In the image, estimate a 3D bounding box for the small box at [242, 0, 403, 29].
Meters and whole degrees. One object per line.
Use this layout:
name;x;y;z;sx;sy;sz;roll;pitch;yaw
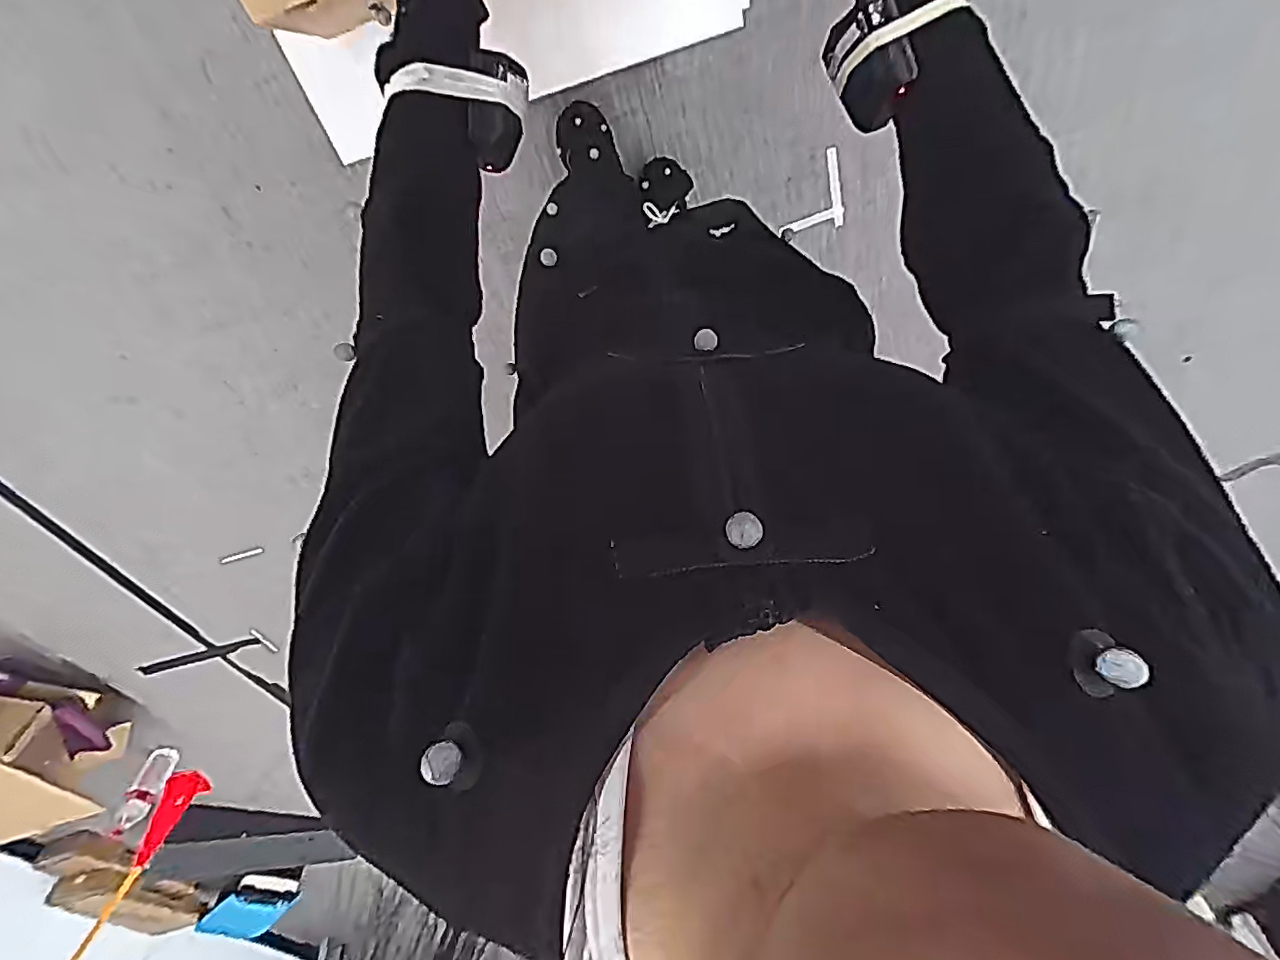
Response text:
small box;-0.286;-0.529;0.466;0.168;0.176;0.179;-17;127;7
